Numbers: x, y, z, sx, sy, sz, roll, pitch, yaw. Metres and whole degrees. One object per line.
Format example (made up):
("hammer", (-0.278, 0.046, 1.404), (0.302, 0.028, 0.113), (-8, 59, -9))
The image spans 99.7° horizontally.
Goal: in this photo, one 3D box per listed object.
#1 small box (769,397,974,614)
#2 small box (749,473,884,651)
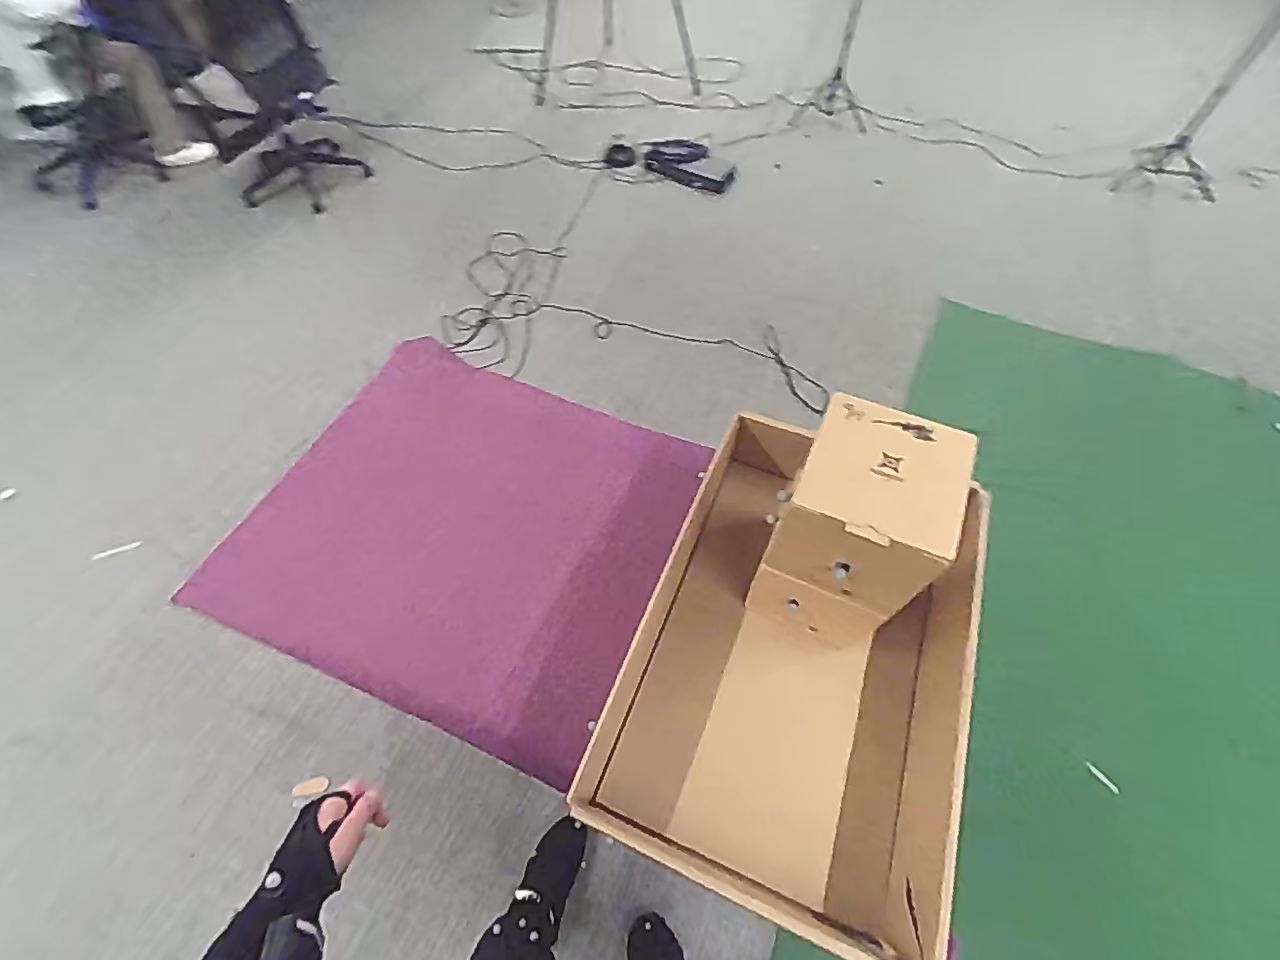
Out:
("small box", (0.268, 0.037, 0.659), (0.168, 0.176, 0.179), (22, 61, 15))
("small box", (0.268, 0.126, 0.797), (0.168, 0.176, 0.179), (22, 61, 15))
